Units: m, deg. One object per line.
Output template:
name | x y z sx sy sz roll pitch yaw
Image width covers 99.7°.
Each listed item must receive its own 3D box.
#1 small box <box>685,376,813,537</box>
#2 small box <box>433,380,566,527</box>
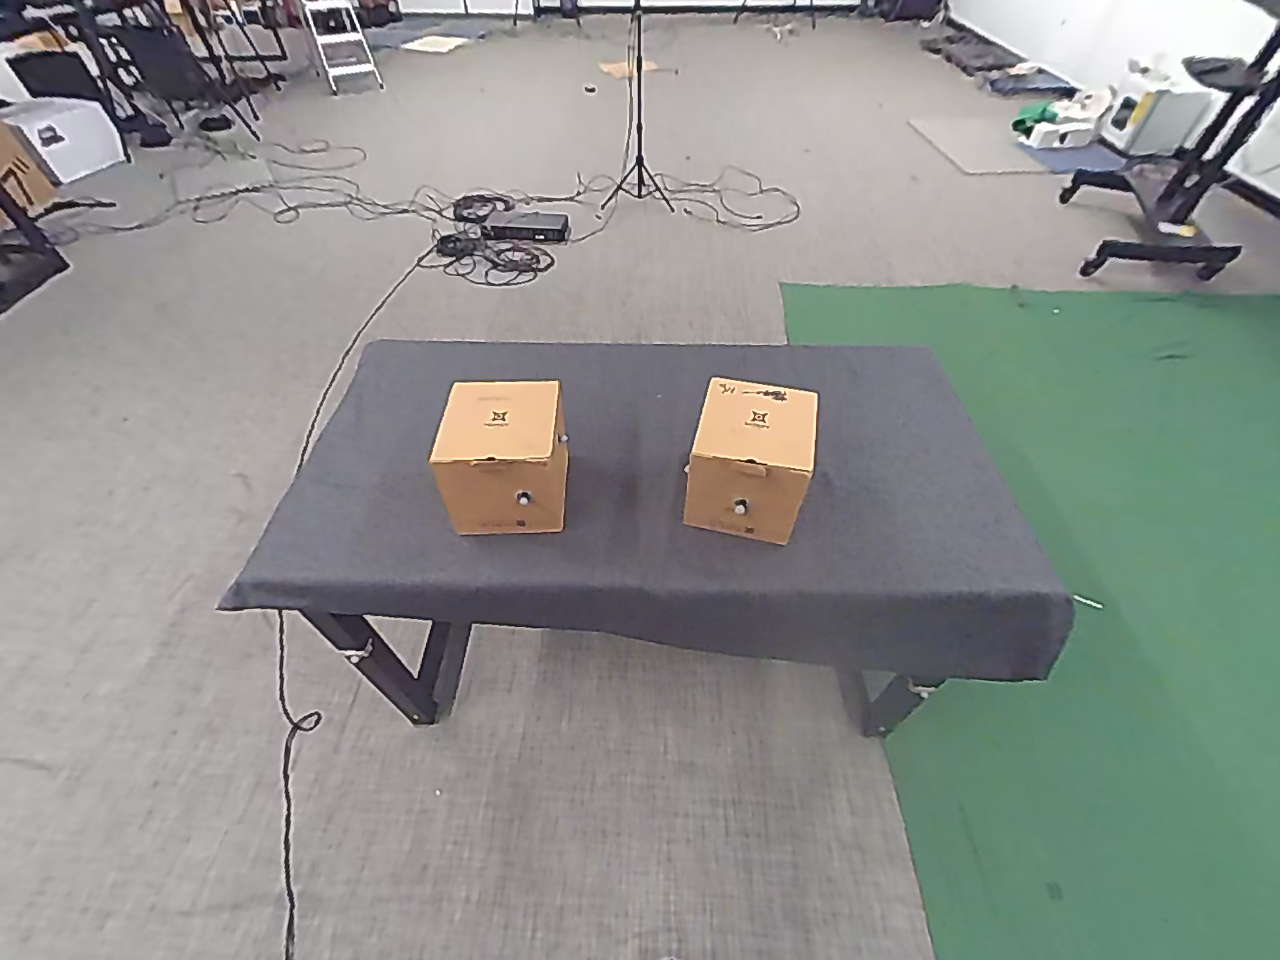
small box | 0.167 -0.034 0.852 0.168 0.176 0.179 11 50 9
small box | -0.208 -0.038 0.855 0.168 0.176 0.179 -1 46 -3
